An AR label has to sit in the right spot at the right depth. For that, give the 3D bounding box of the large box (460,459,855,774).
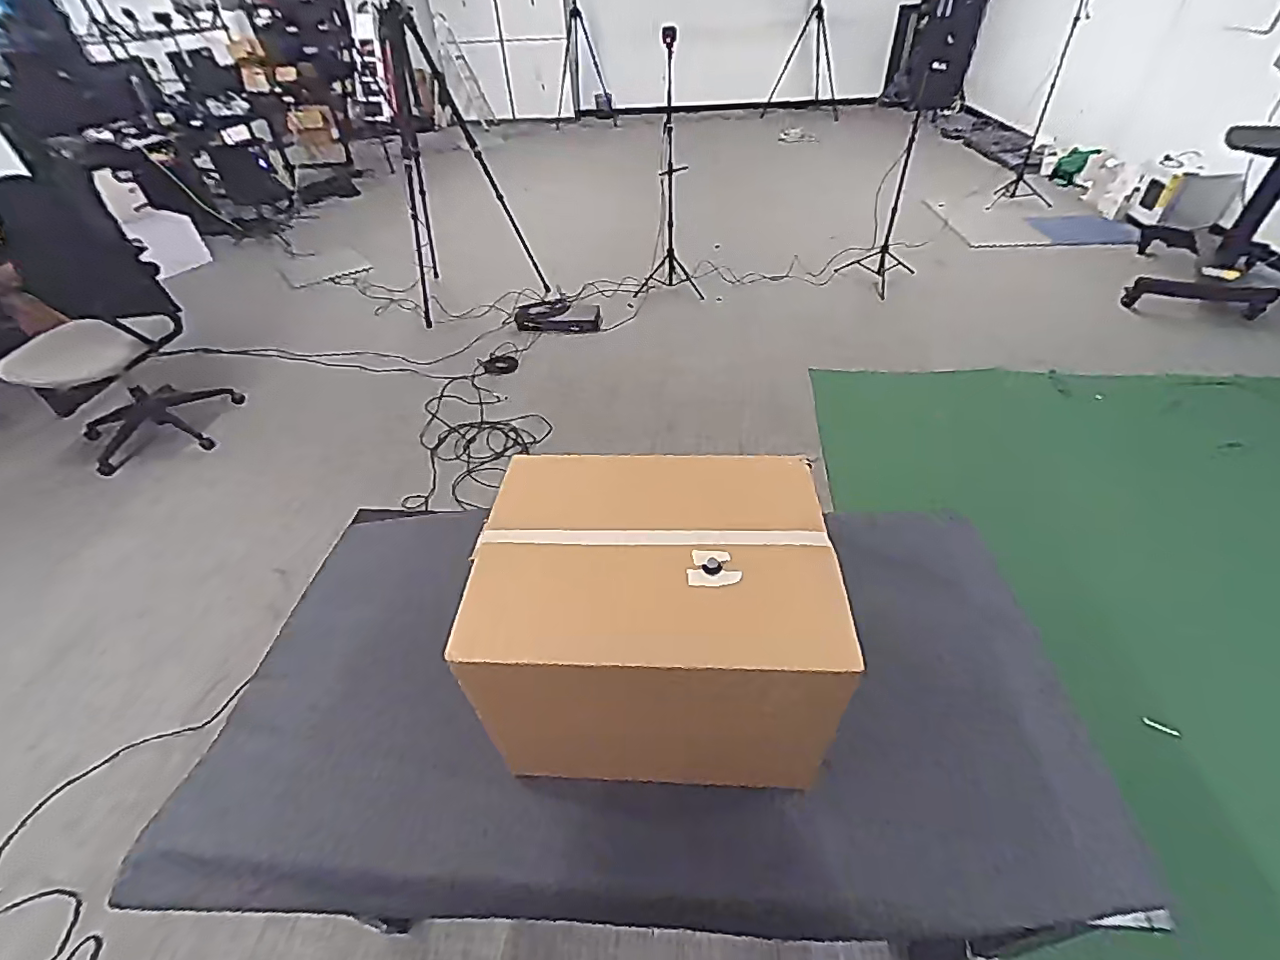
[{"bbox_3d":[0.022,0.185,0.743,0.408,0.320,0.320,0,43,3],"label":"large box"}]
